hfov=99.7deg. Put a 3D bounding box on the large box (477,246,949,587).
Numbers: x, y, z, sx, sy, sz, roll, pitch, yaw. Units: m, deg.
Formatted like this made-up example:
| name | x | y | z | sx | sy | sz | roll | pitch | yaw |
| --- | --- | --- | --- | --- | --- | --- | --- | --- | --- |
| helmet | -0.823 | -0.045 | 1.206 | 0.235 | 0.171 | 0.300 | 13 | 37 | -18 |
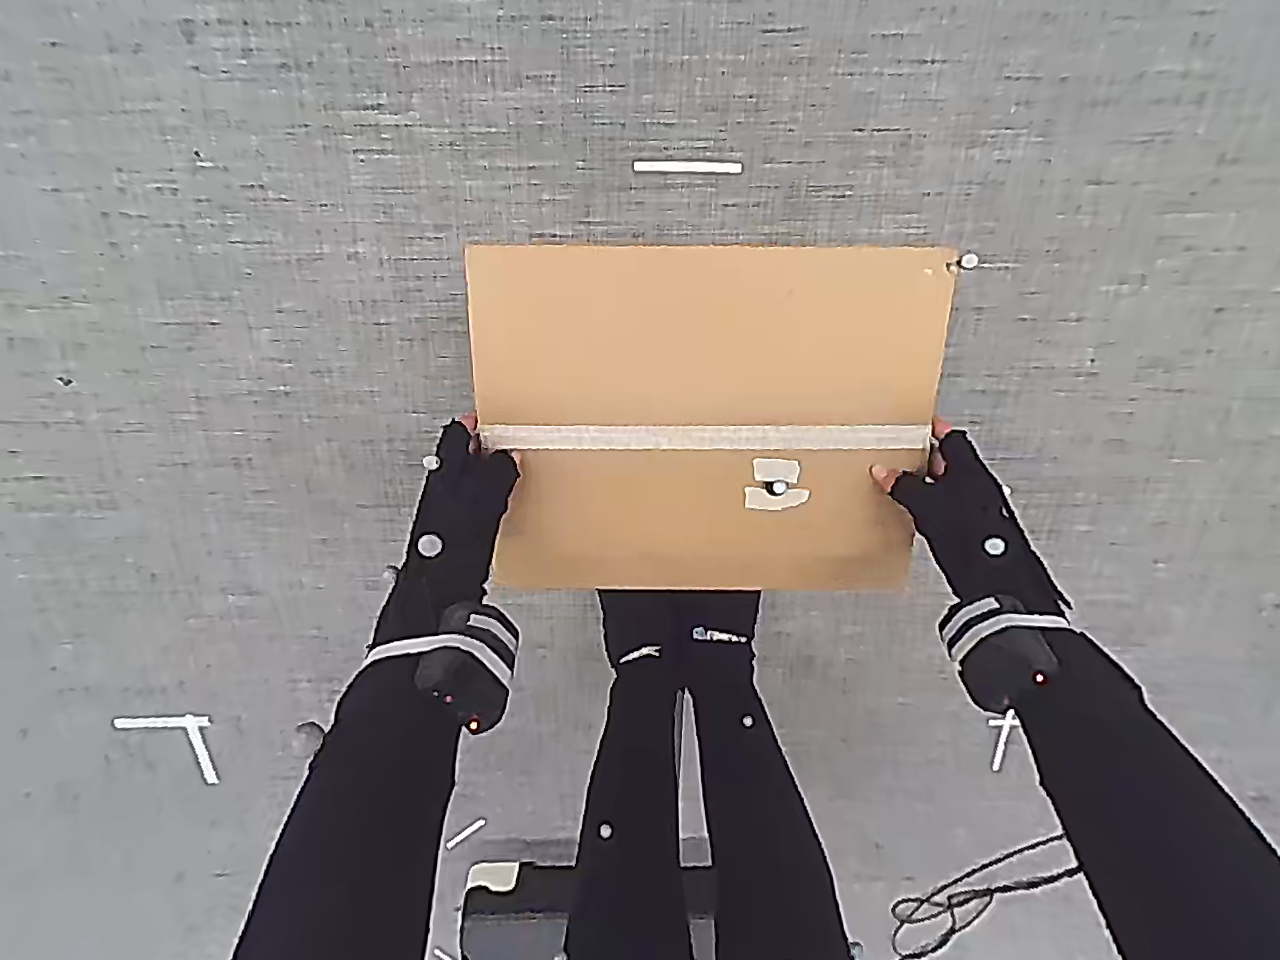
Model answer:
| name | x | y | z | sx | sy | sz | roll | pitch | yaw |
| --- | --- | --- | --- | --- | --- | --- | --- | --- | --- |
| large box | 0.061 | -0.087 | 0.636 | 0.408 | 0.320 | 0.320 | -1 | 108 | -1 |
